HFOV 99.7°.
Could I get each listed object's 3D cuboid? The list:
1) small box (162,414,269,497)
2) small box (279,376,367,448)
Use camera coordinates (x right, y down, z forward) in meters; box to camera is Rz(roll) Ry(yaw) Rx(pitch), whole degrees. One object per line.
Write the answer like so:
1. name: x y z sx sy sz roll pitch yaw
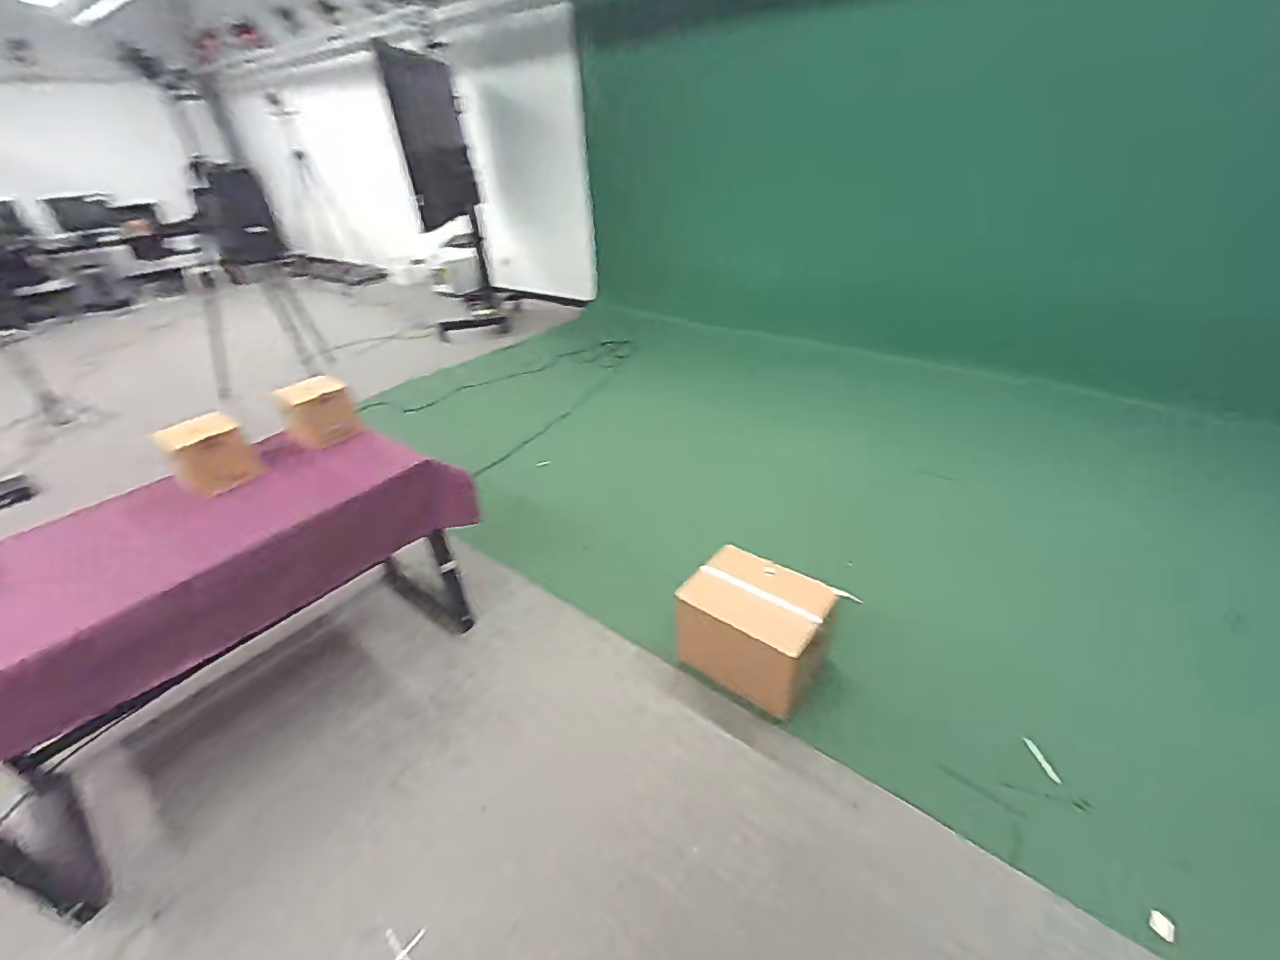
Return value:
1. small box: -1.236 -0.071 1.580 0.179 0.176 0.168 20 41 31
2. small box: -1.039 -0.223 1.778 0.179 0.176 0.168 21 42 33
